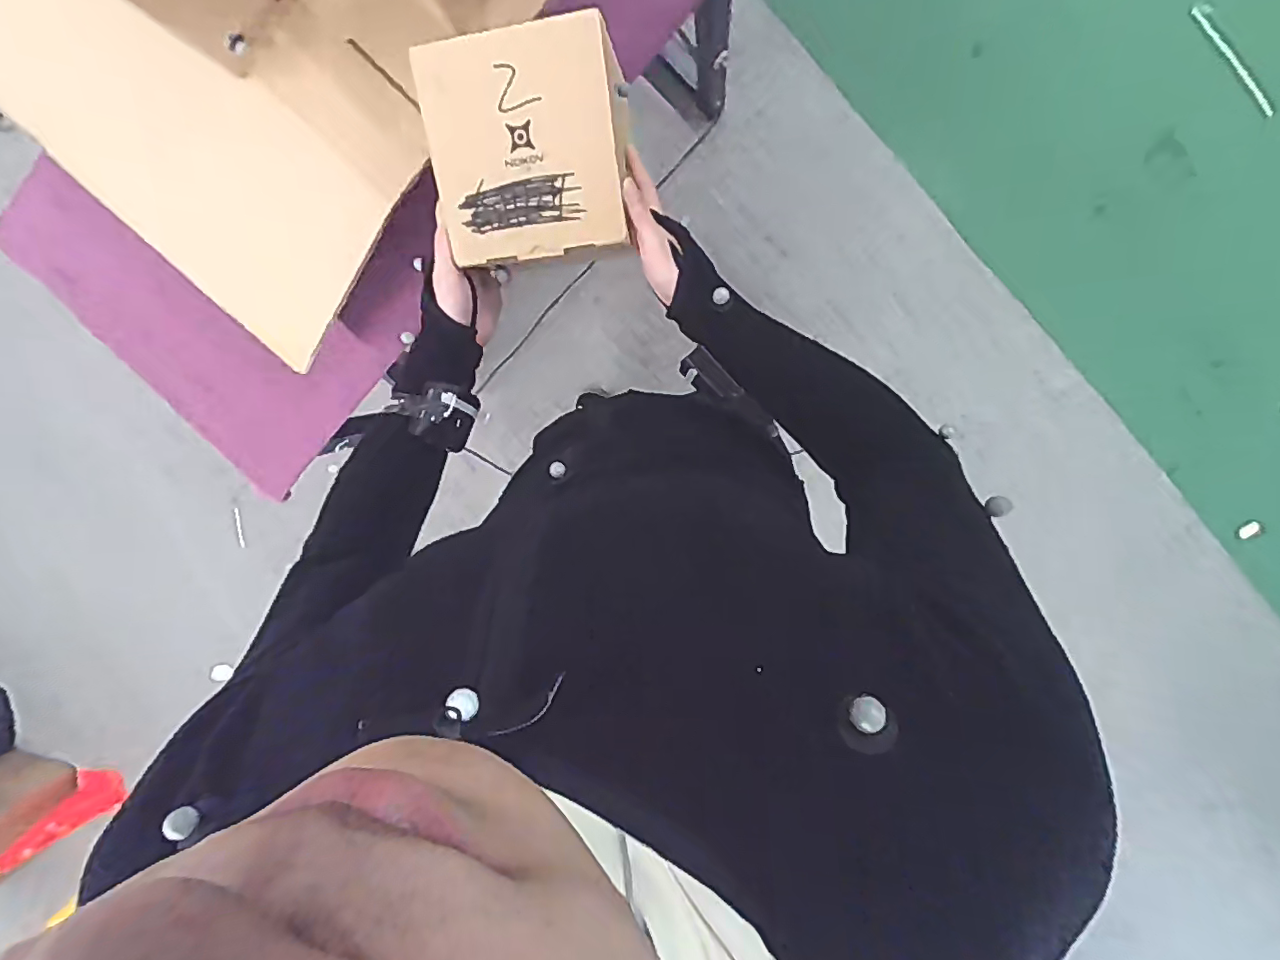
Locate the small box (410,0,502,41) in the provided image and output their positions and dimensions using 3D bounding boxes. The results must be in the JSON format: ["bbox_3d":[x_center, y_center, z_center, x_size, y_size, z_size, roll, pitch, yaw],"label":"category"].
[{"bbox_3d":[-0.219,-0.598,0.529,0.179,0.176,0.168,43,101,-5],"label":"small box"}]
